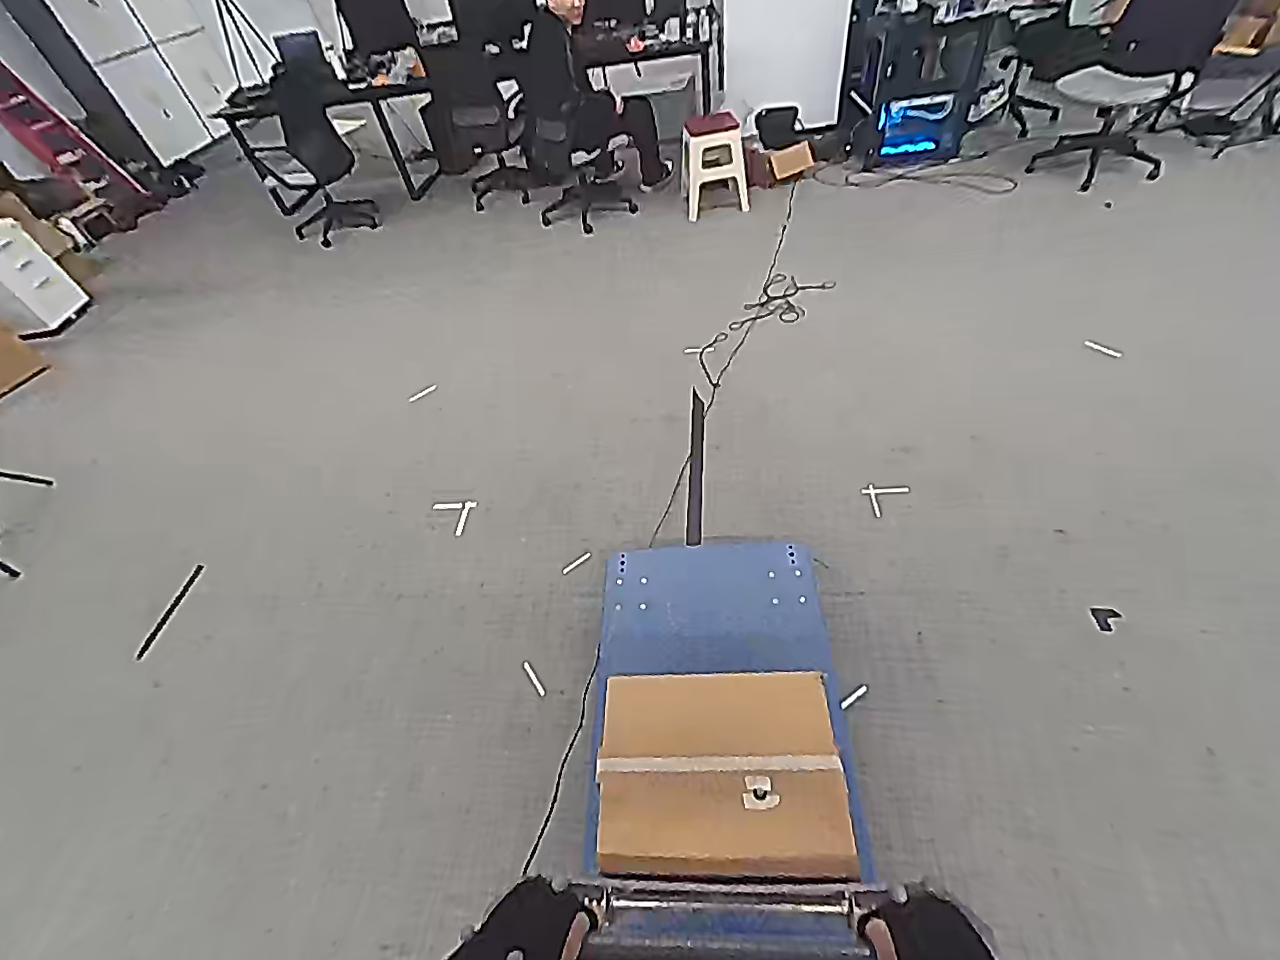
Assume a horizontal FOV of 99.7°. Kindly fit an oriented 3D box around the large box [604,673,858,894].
[{"bbox_3d":[0.155,0.593,1.048,0.408,0.320,0.320,-4,49,6],"label":"large box"}]
